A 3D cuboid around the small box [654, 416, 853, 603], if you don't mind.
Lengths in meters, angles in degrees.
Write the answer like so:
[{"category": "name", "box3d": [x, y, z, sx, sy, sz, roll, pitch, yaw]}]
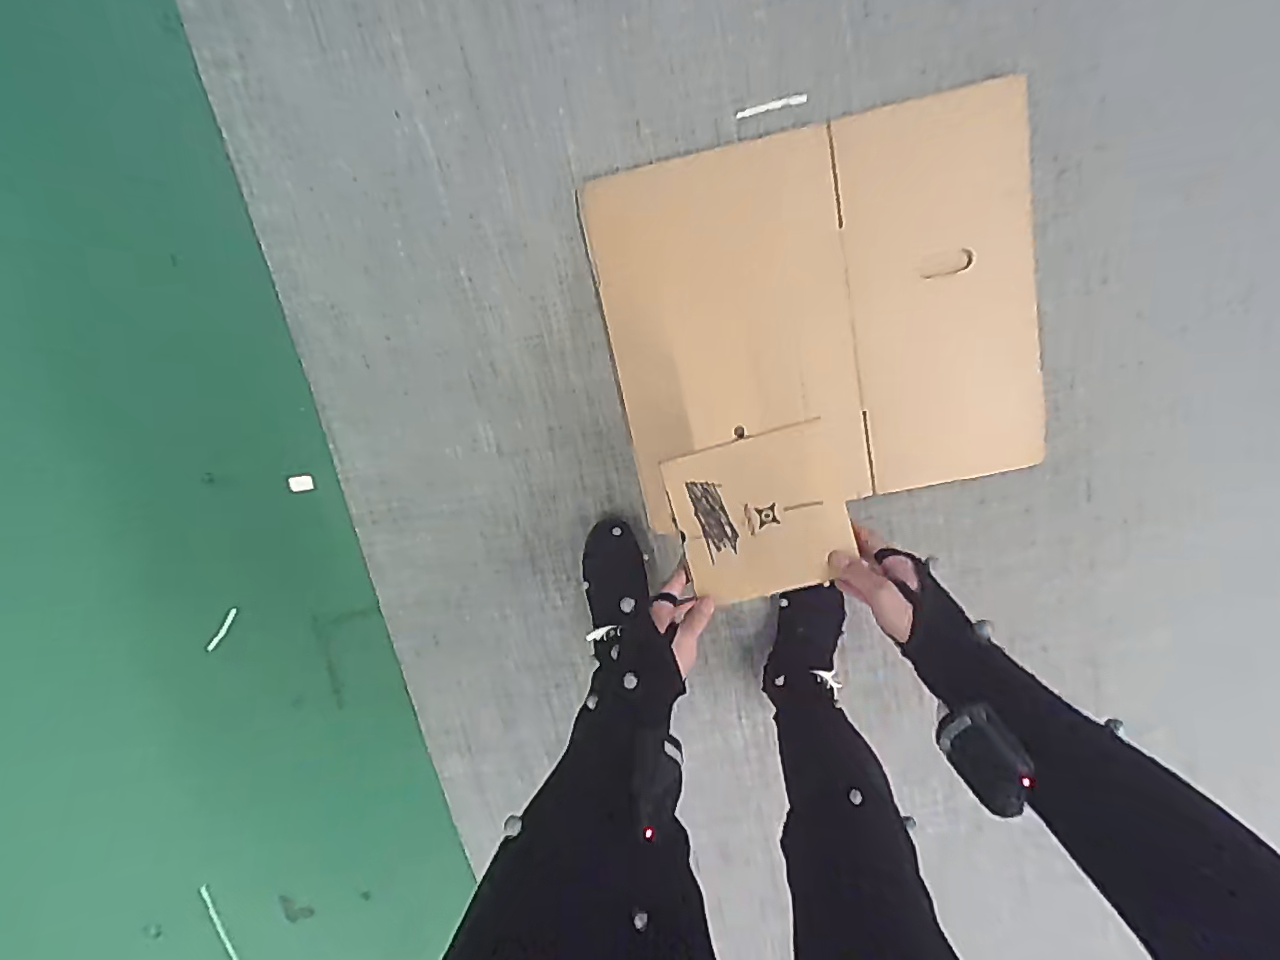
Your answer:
[{"category": "small box", "box3d": [0.129, 0.029, 0.647, 0.179, 0.176, 0.168, -16, 92, 8]}]
